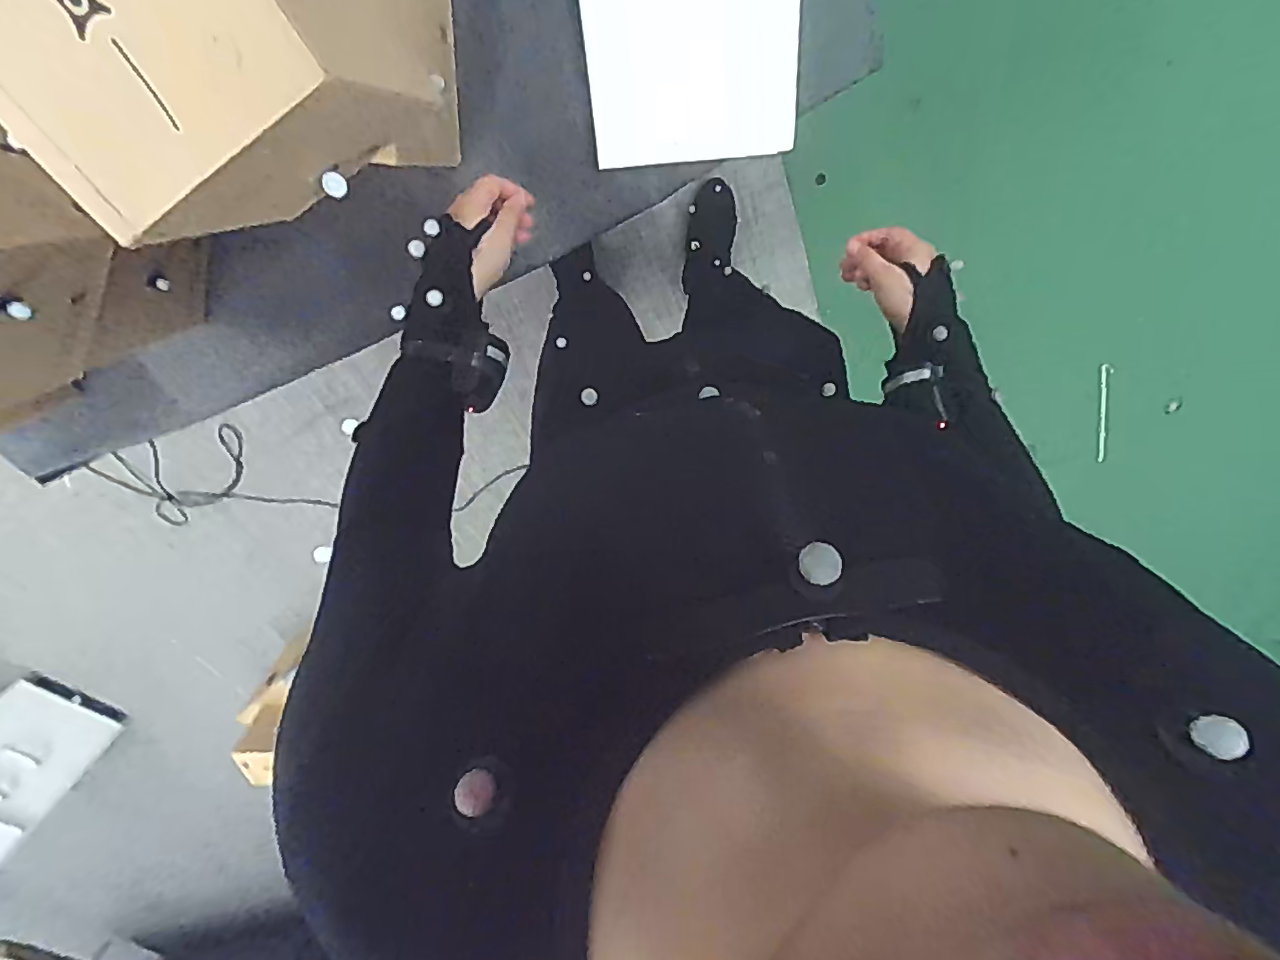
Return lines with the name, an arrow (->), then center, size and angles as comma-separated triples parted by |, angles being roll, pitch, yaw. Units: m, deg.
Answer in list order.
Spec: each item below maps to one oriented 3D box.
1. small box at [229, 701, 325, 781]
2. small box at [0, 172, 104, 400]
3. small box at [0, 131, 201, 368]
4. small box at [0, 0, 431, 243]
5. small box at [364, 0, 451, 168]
small box -> -1.124, 0.815, 1.699 | 0.179, 0.176, 0.168 | -2, 122, 0
small box -> -0.558, -0.156, 0.390 | 0.179, 0.176, 0.168 | 34, 115, -18
small box -> -0.574, -0.242, 0.528 | 0.179, 0.176, 0.168 | 23, 119, -13
small box -> -0.260, -0.268, 0.313 | 0.168, 0.176, 0.179 | -24, 118, 16
small box -> -0.266, -0.366, 0.447 | 0.179, 0.176, 0.168 | 6, 121, -2
